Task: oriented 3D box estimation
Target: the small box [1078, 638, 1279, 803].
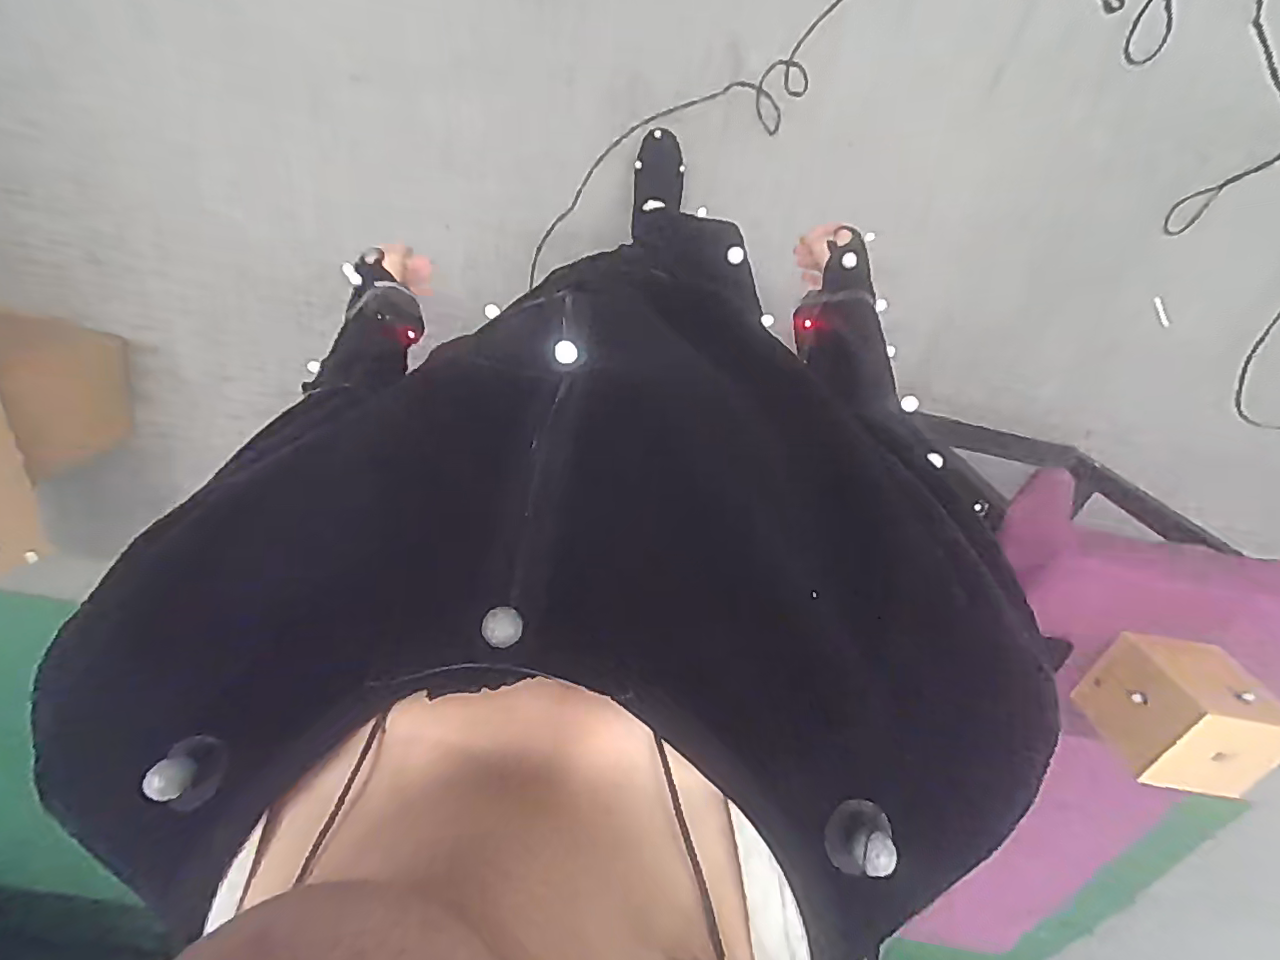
[{"bbox_3d":[0.872,0.378,0.868,0.179,0.176,0.168,10,118,-4],"label":"small box"}]
